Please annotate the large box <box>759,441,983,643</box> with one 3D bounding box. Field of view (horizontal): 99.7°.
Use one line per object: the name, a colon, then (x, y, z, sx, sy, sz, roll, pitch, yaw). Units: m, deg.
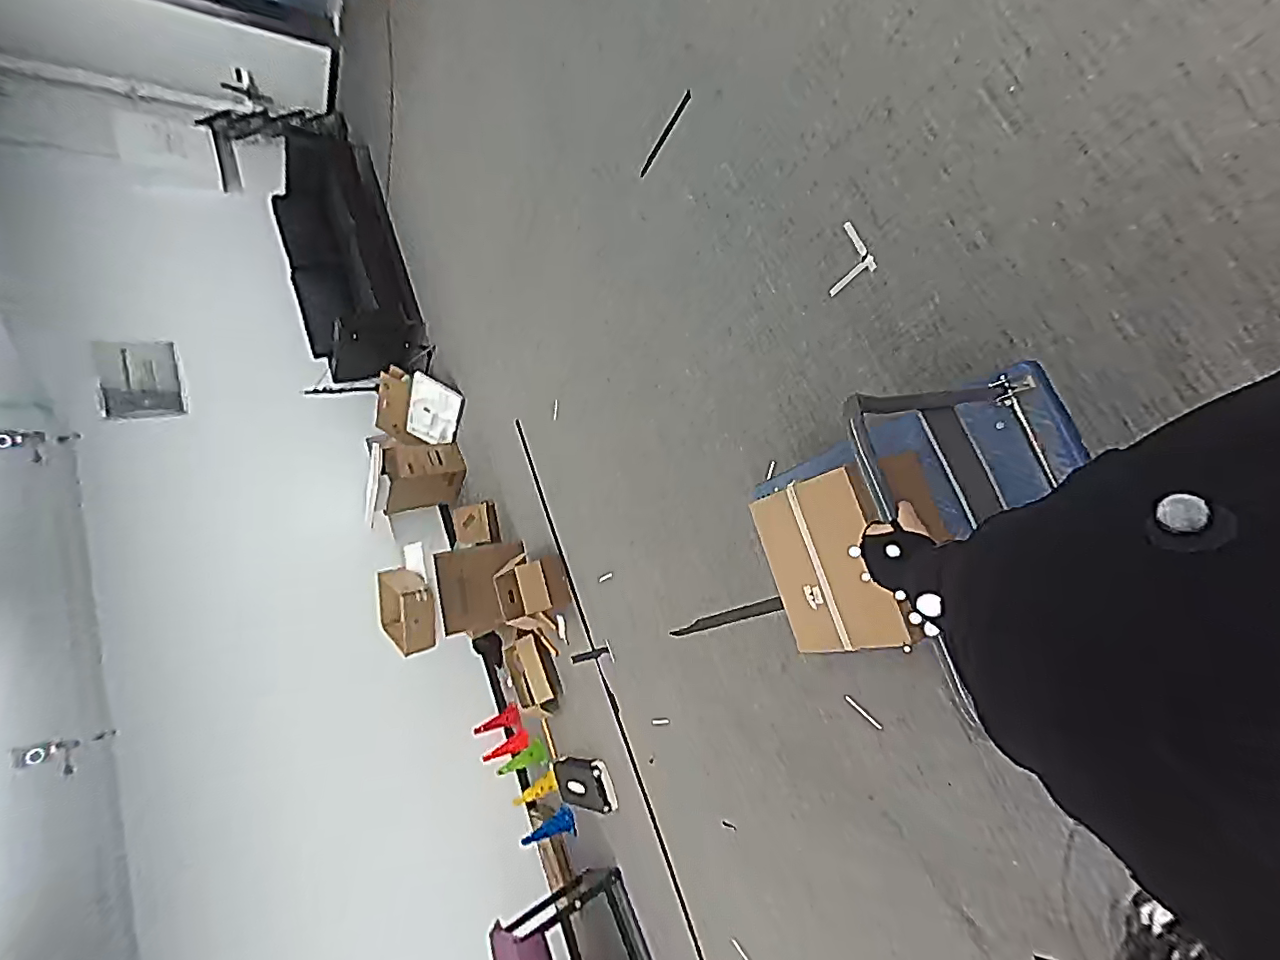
large box: (0.571, 0.154, 1.360, 0.320, 0.320, 0.408, -31, 75, 54)
